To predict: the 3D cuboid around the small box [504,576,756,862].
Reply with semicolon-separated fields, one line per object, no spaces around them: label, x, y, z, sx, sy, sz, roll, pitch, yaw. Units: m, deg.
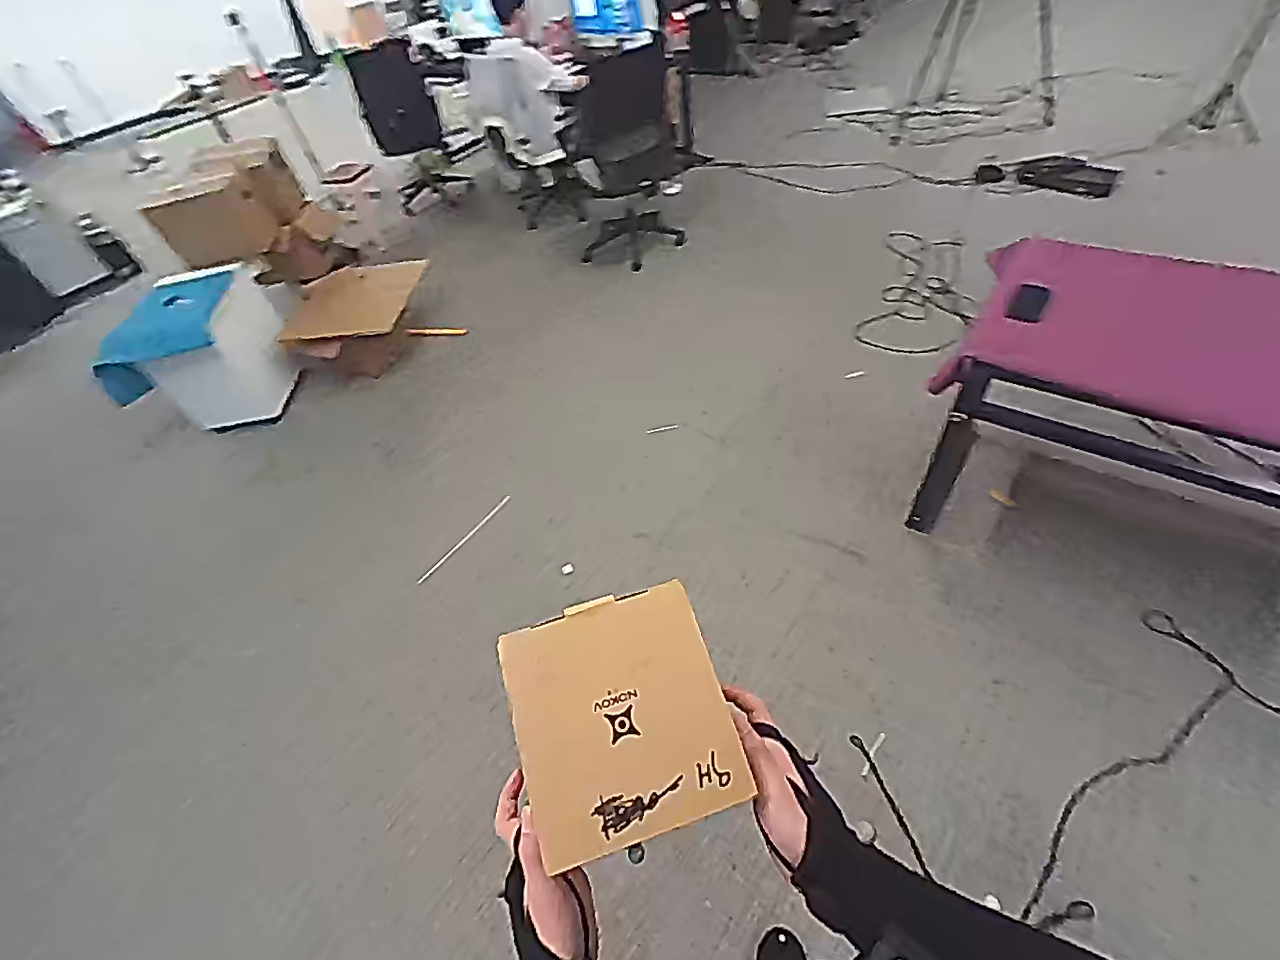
small box;-0.012;0.213;0.499;0.168;0.176;0.179;-17;65;-5
